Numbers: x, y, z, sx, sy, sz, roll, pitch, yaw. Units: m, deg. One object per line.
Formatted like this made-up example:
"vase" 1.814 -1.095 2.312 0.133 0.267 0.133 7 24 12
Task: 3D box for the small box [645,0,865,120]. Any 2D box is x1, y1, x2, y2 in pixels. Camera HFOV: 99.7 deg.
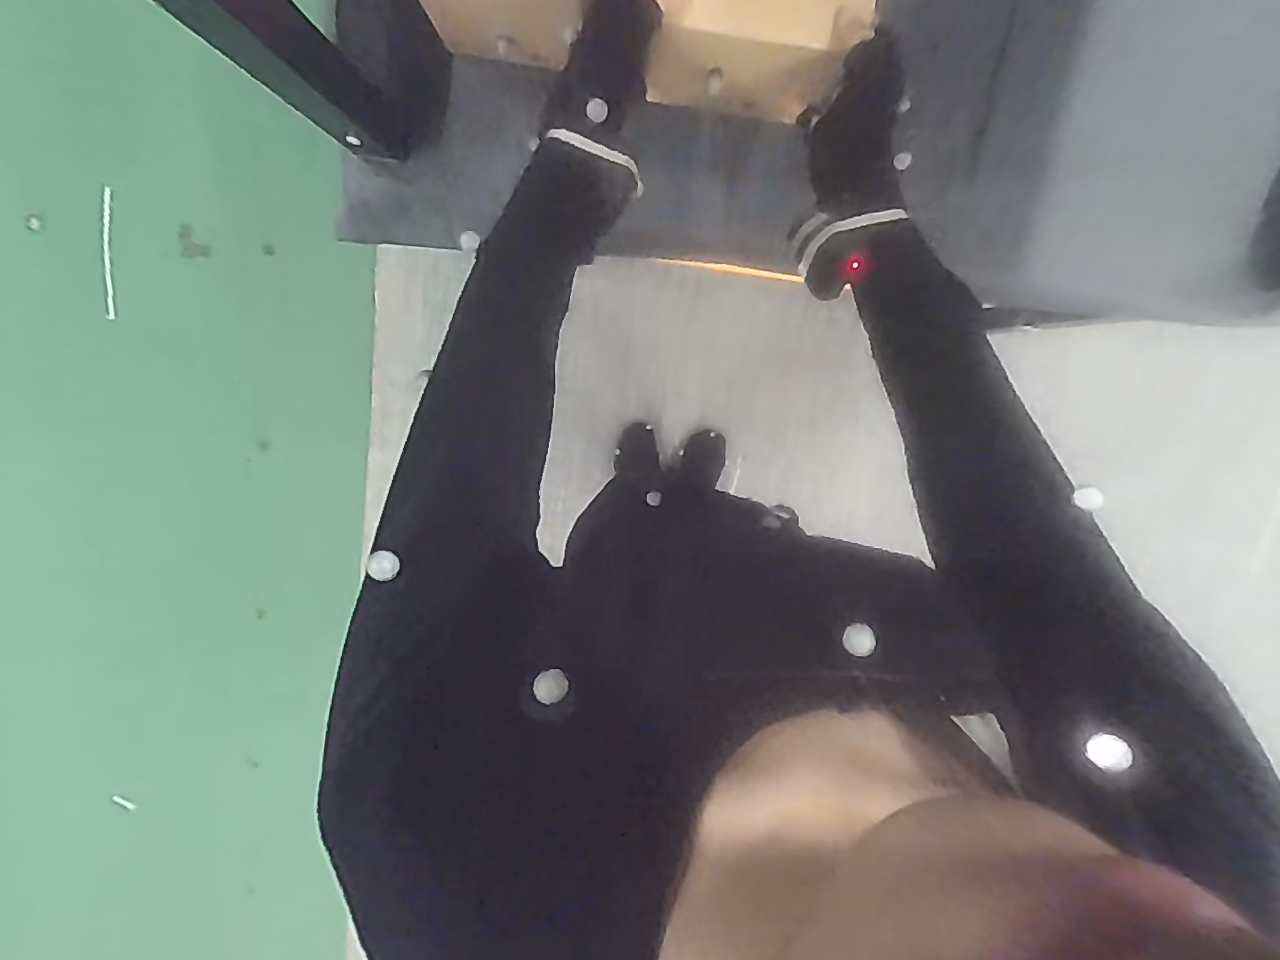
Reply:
"small box" 0.096 -0.442 0.467 0.168 0.176 0.179 6 106 -4

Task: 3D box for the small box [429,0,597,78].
"small box" -0.128 -0.552 0.538 0.168 0.176 0.179 7 101 -3
